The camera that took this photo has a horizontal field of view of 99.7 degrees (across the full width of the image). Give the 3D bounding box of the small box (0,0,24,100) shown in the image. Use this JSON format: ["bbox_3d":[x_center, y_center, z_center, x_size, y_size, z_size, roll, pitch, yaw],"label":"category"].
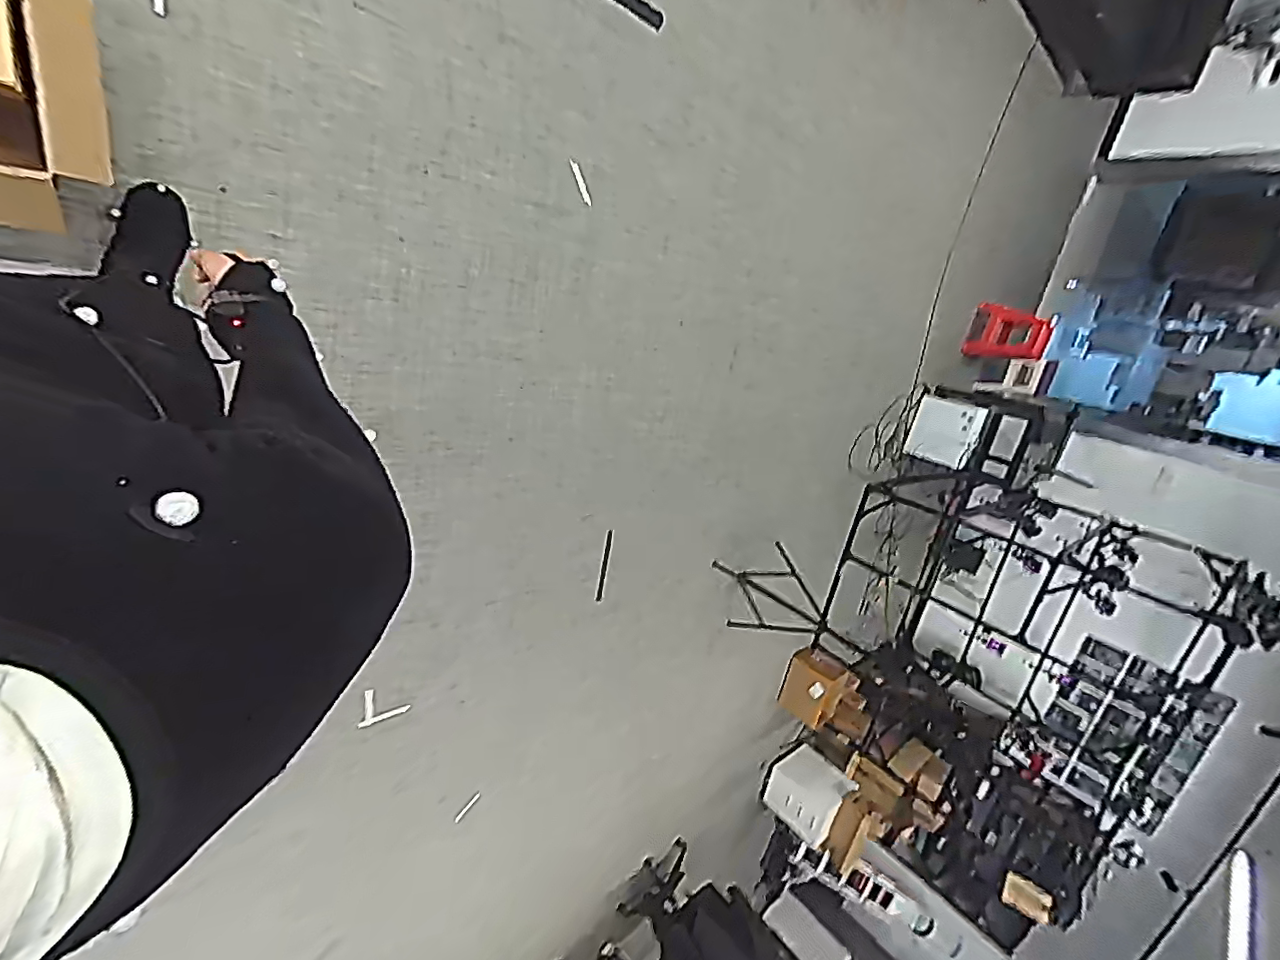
[{"bbox_3d":[-0.969,-0.650,0.728,0.168,0.176,0.179,-3,113,-42],"label":"small box"}]
